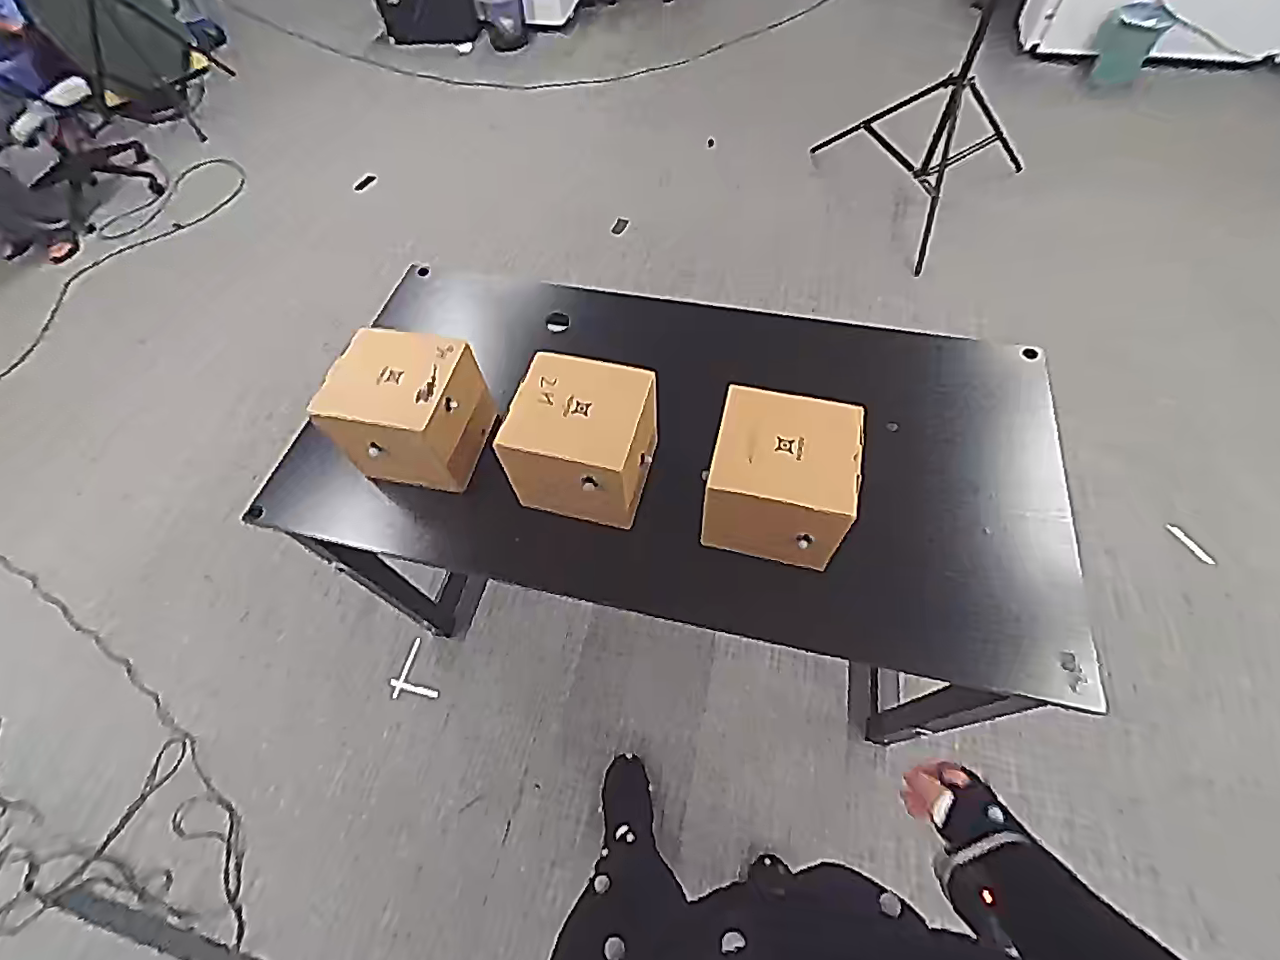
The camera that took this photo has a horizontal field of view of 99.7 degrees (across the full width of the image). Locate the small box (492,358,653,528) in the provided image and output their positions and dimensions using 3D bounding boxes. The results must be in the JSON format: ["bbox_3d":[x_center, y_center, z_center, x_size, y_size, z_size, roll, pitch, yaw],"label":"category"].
[{"bbox_3d":[-0.082,-0.047,0.780,0.179,0.176,0.168,12,60,10],"label":"small box"}]

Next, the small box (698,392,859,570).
[{"bbox_3d":[0.182,0.008,0.735,0.179,0.176,0.168,10,59,9],"label":"small box"}]

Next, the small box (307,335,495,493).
[{"bbox_3d":[-0.347,-0.095,0.824,0.179,0.176,0.168,8,60,8],"label":"small box"}]
